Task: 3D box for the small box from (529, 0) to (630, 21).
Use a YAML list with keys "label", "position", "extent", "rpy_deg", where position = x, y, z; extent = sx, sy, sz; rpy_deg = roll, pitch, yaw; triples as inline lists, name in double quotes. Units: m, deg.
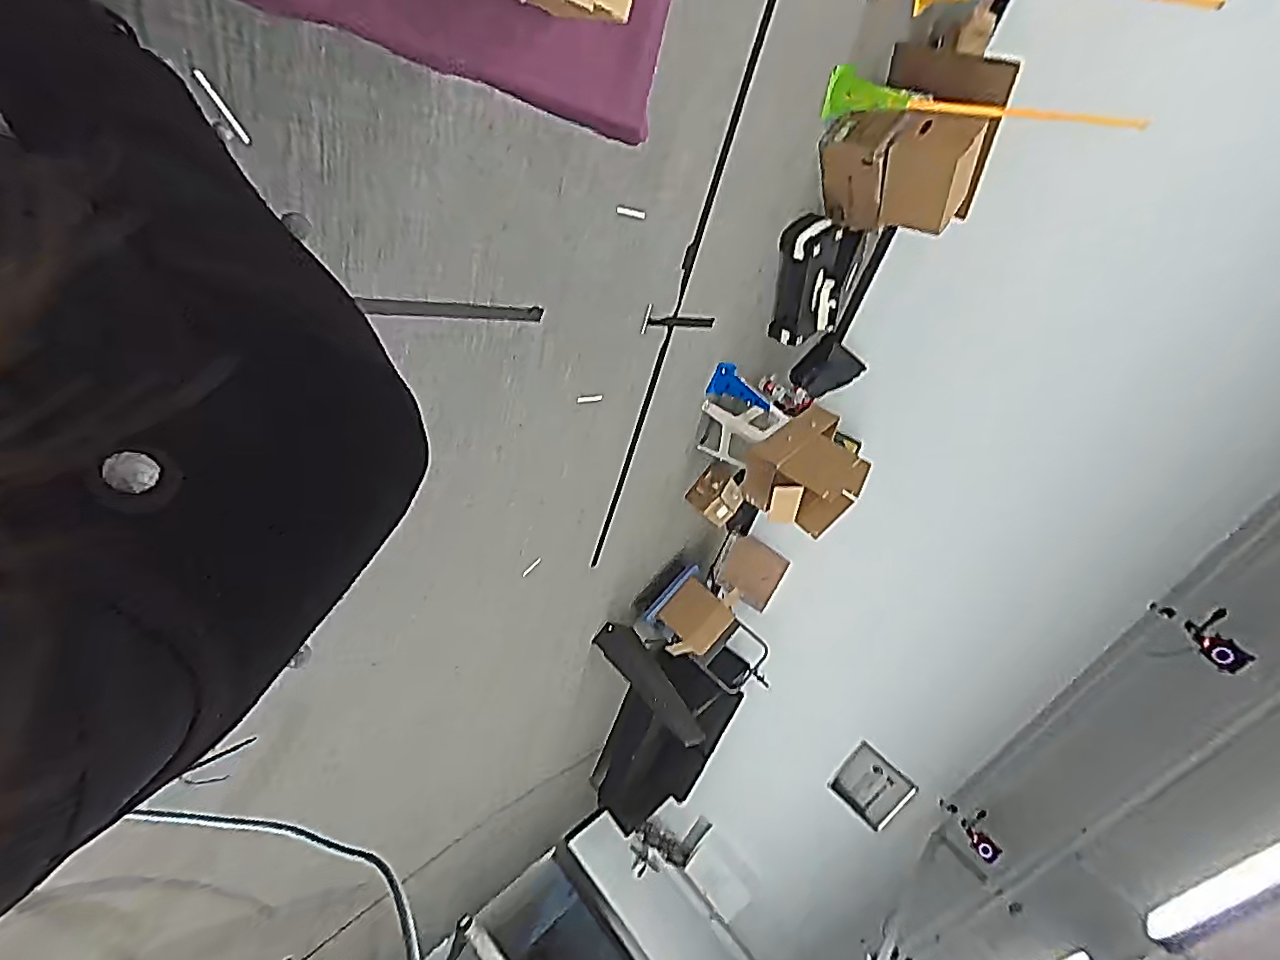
- label: "small box"
  position: [-0.109, -0.716, 0.671]
  extent: [0.168, 0.176, 0.179]
  rpy_deg: [-19, 136, -44]
